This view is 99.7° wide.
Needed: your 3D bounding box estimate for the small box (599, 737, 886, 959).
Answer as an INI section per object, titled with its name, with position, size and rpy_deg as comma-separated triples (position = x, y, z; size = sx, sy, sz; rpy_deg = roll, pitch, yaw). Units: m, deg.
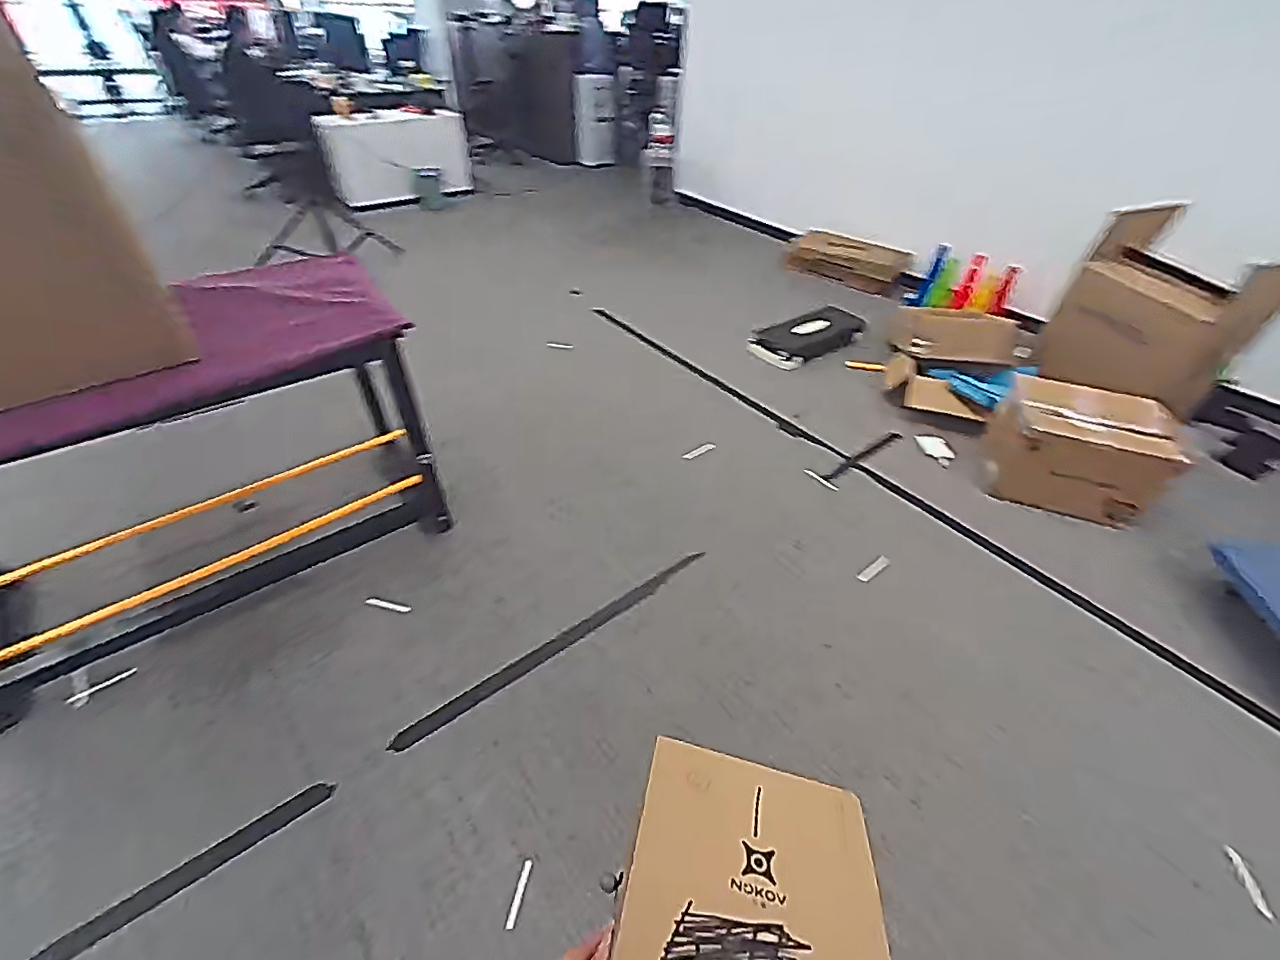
[small box]
position = 0.060, 0.331, 0.386
size = 0.168, 0.176, 0.179
rpy_deg = 13, 23, 6
